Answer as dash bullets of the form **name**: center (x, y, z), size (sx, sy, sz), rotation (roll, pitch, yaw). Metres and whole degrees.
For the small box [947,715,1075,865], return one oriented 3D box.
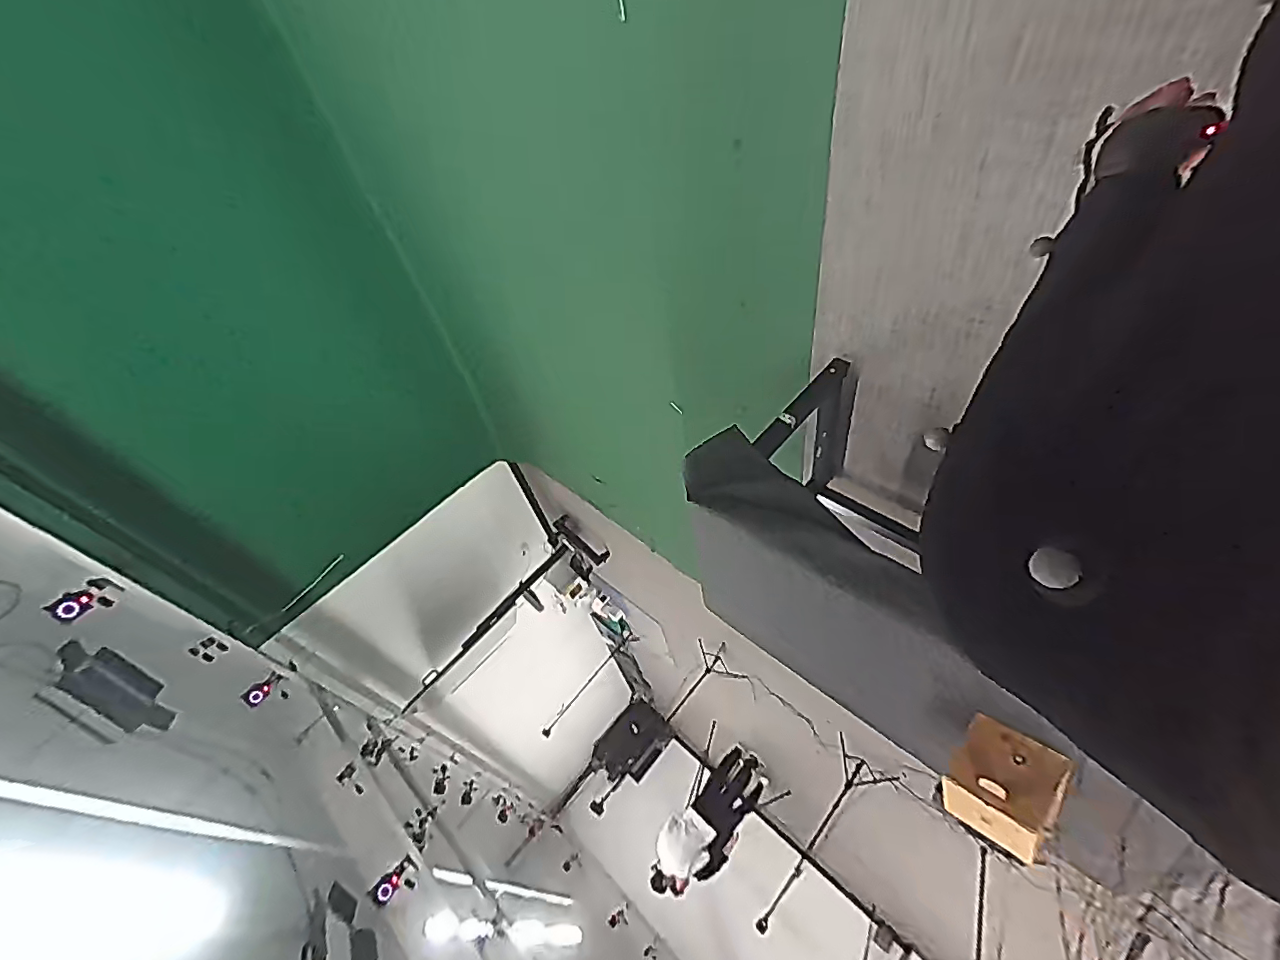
- **small box**: center (0.748, 0.621, 1.095), size (0.168, 0.176, 0.179), rotation (22, 146, 47)
